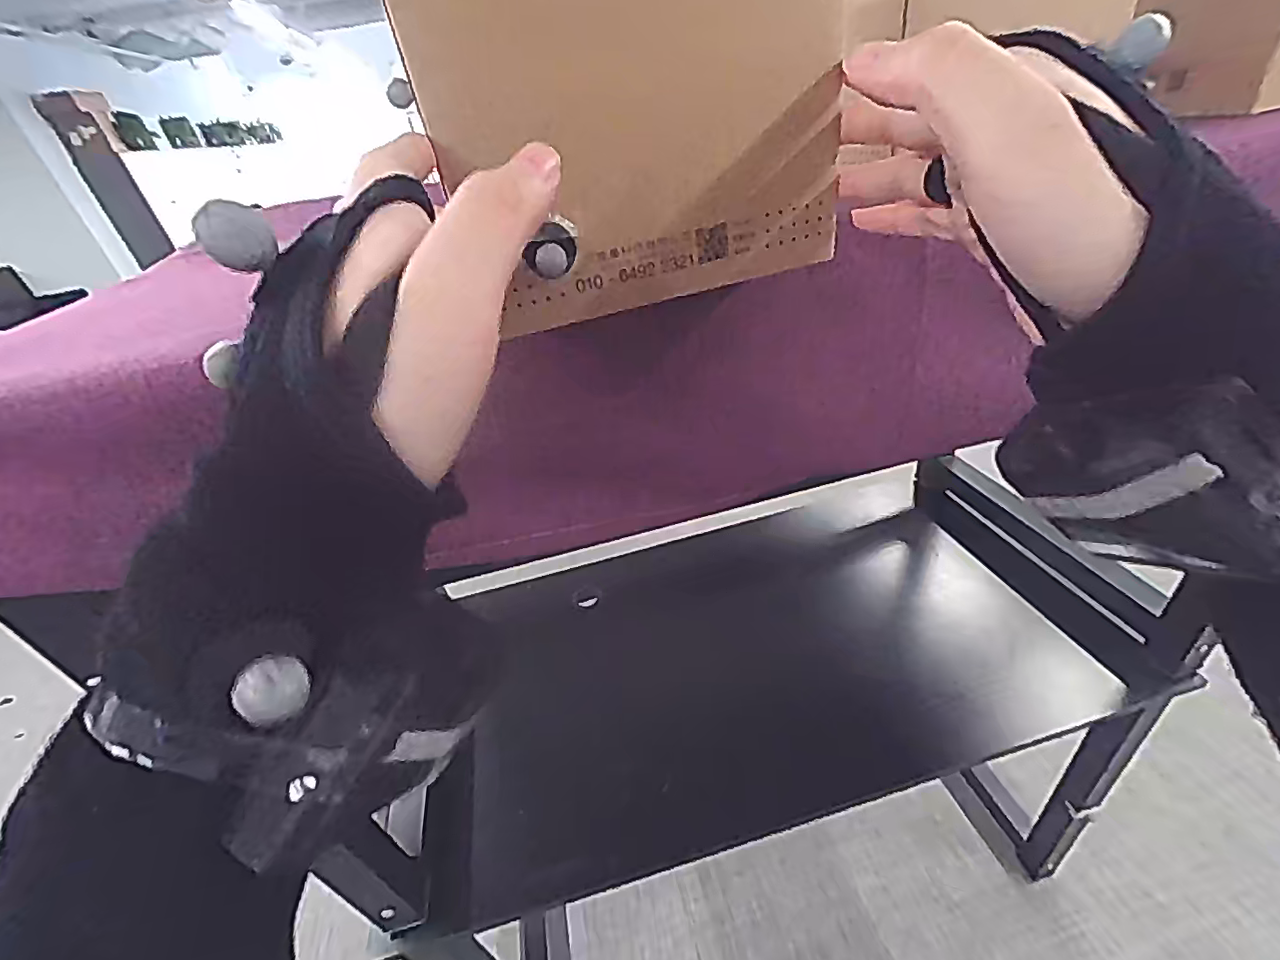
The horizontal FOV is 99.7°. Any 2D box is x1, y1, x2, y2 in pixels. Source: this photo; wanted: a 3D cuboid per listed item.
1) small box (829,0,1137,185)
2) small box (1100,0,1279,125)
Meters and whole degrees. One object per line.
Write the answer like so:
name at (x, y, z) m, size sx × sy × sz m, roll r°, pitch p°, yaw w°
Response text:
small box at (0.206, -0.319, 0.386) m, size 0.168 × 0.176 × 0.179 m, roll -16°, pitch 34°, yaw -8°
small box at (0.480, -0.382, 0.405) m, size 0.179 × 0.176 × 0.168 m, roll -14°, pitch 33°, yaw -4°
